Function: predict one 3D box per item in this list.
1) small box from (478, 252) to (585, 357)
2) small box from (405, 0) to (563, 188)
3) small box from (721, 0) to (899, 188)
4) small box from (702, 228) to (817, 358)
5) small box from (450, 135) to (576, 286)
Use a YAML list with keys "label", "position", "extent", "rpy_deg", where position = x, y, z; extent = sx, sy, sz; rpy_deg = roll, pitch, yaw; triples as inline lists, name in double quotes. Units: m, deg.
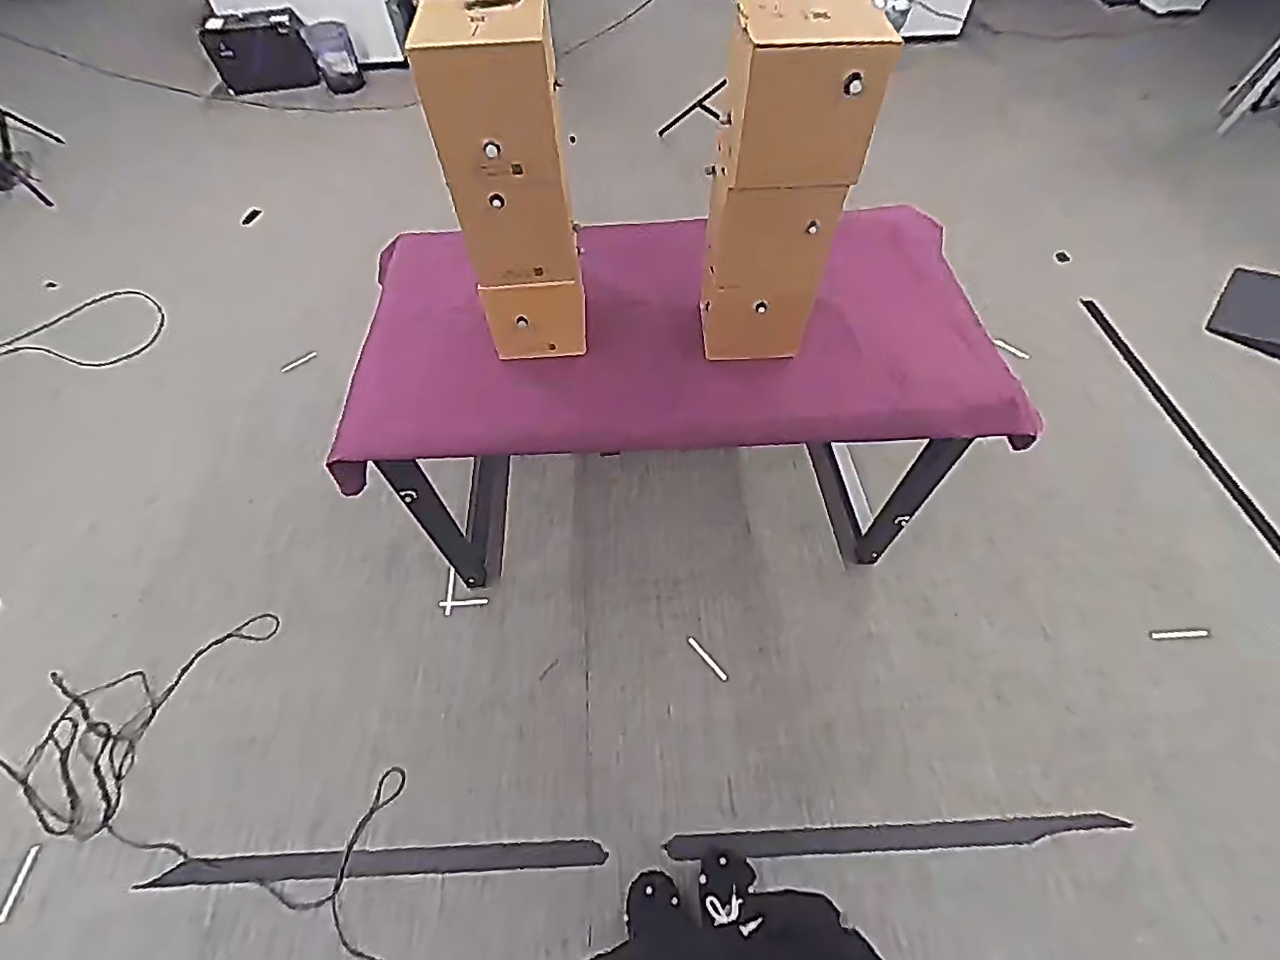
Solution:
- label: "small box"
  position: [-0.194, -0.348, 1.021]
  extent: [0.168, 0.176, 0.179]
  rpy_deg: [-4, 56, -1]
- label: "small box"
  position: [-0.201, -0.534, 0.750]
  extent: [0.168, 0.176, 0.179]
  rpy_deg: [-5, 57, -1]
- label: "small box"
  position: [0.211, -0.519, 0.728]
  extent: [0.179, 0.176, 0.168]
  rpy_deg: [-2, 57, 1]
- label: "small box"
  position: [0.209, -0.342, 1.006]
  extent: [0.179, 0.176, 0.168]
  rpy_deg: [-1, 58, 0]
- label: "small box"
  position: [-0.198, -0.444, 0.889]
  extent: [0.168, 0.176, 0.179]
  rpy_deg: [-6, 56, -2]
